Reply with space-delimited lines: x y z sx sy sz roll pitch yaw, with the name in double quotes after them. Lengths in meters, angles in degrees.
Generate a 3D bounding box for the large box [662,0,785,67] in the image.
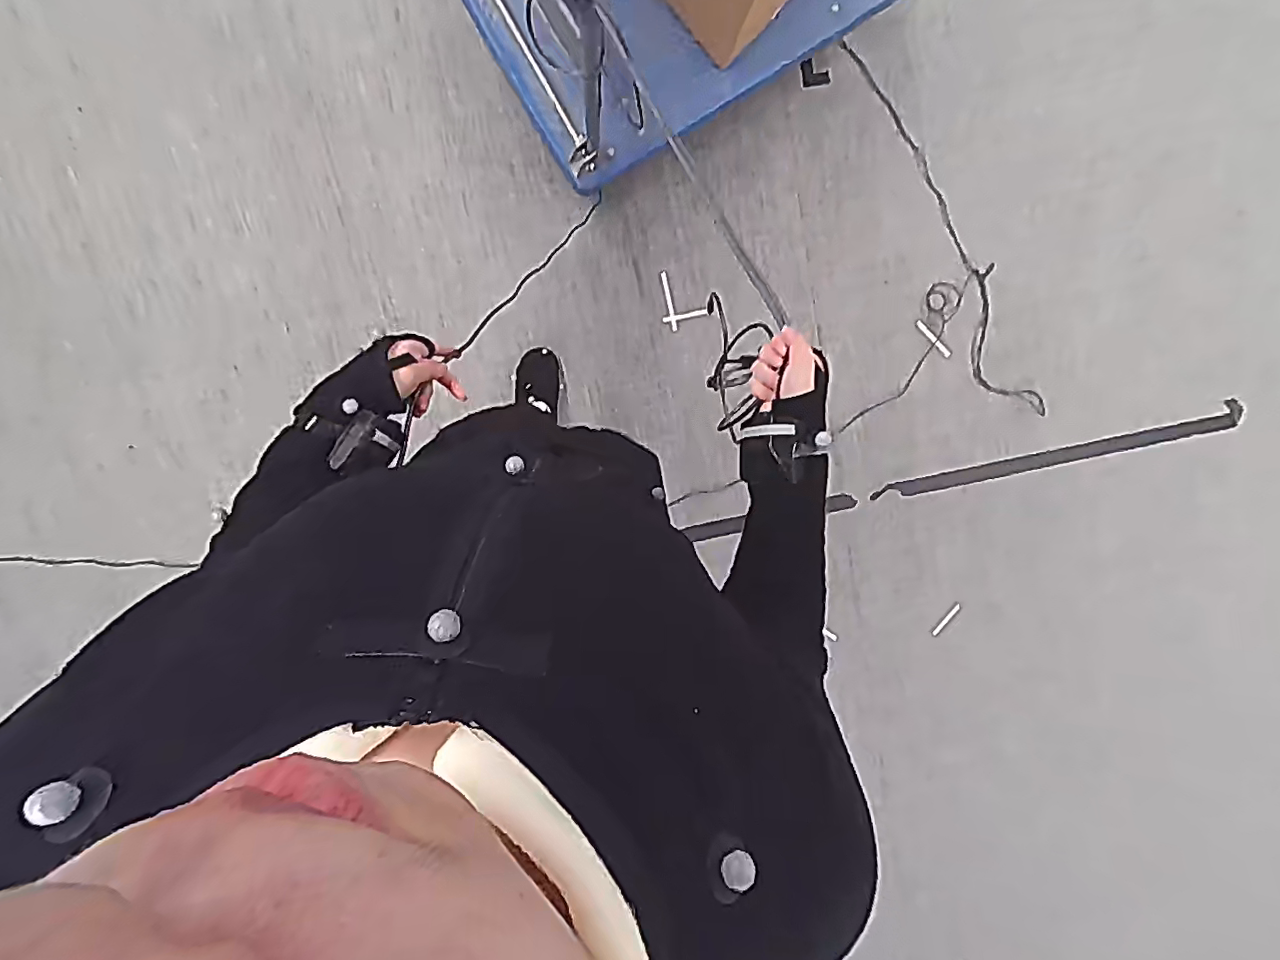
0.153 -1.105 0.985 0.408 0.320 0.320 43 95 -12 "large box"
